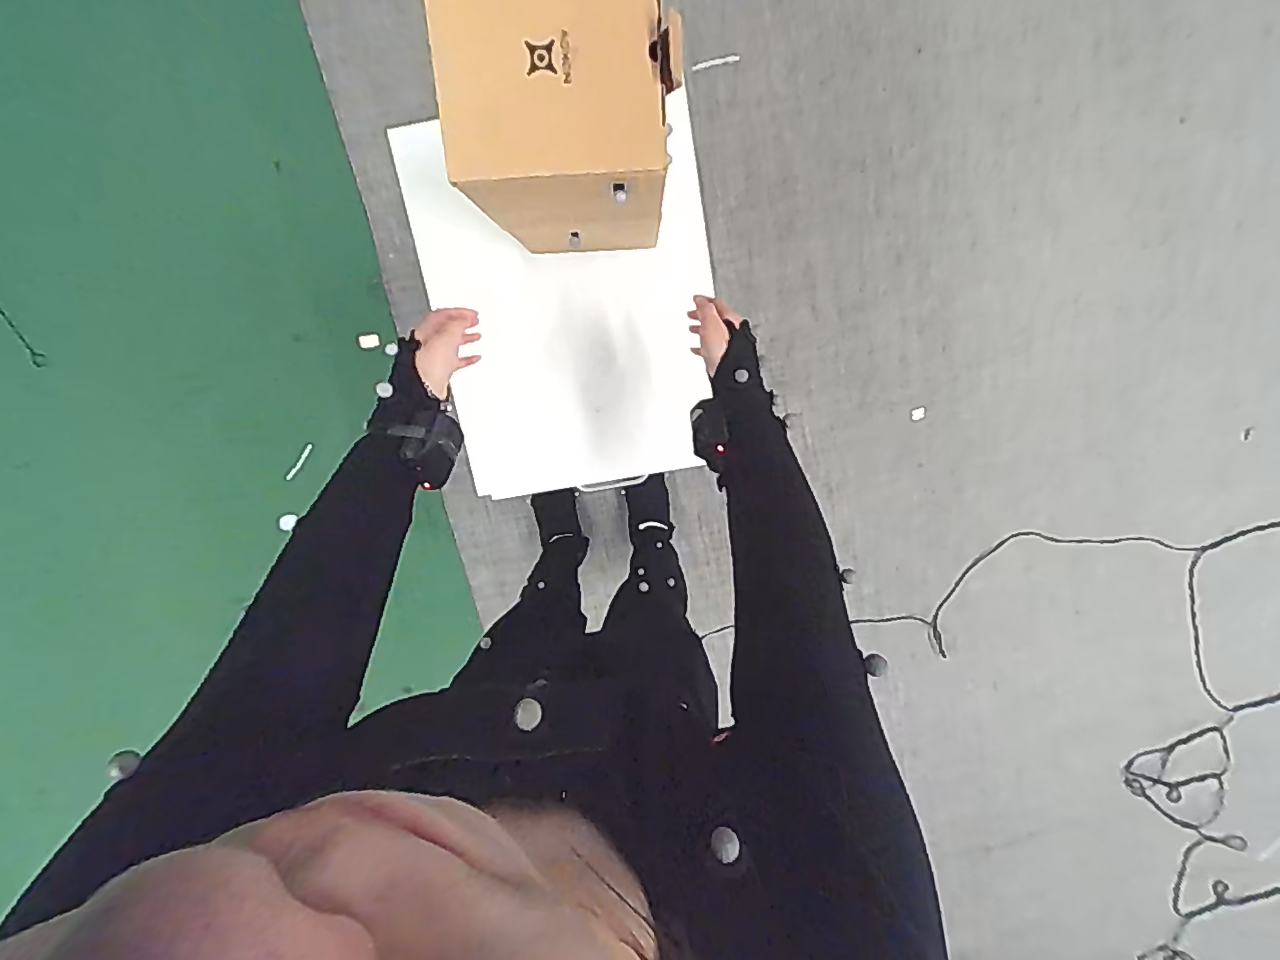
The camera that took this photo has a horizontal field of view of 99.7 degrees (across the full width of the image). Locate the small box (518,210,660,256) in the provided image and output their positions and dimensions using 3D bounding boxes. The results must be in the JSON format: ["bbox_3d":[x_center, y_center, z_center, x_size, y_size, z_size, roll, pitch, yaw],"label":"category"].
[{"bbox_3d":[-0.066,-0.372,0.647,0.179,0.176,0.168,-3,103,1],"label":"small box"}]

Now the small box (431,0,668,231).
[{"bbox_3d":[-0.068,-0.334,0.489,0.179,0.176,0.168,-3,102,0],"label":"small box"}]
